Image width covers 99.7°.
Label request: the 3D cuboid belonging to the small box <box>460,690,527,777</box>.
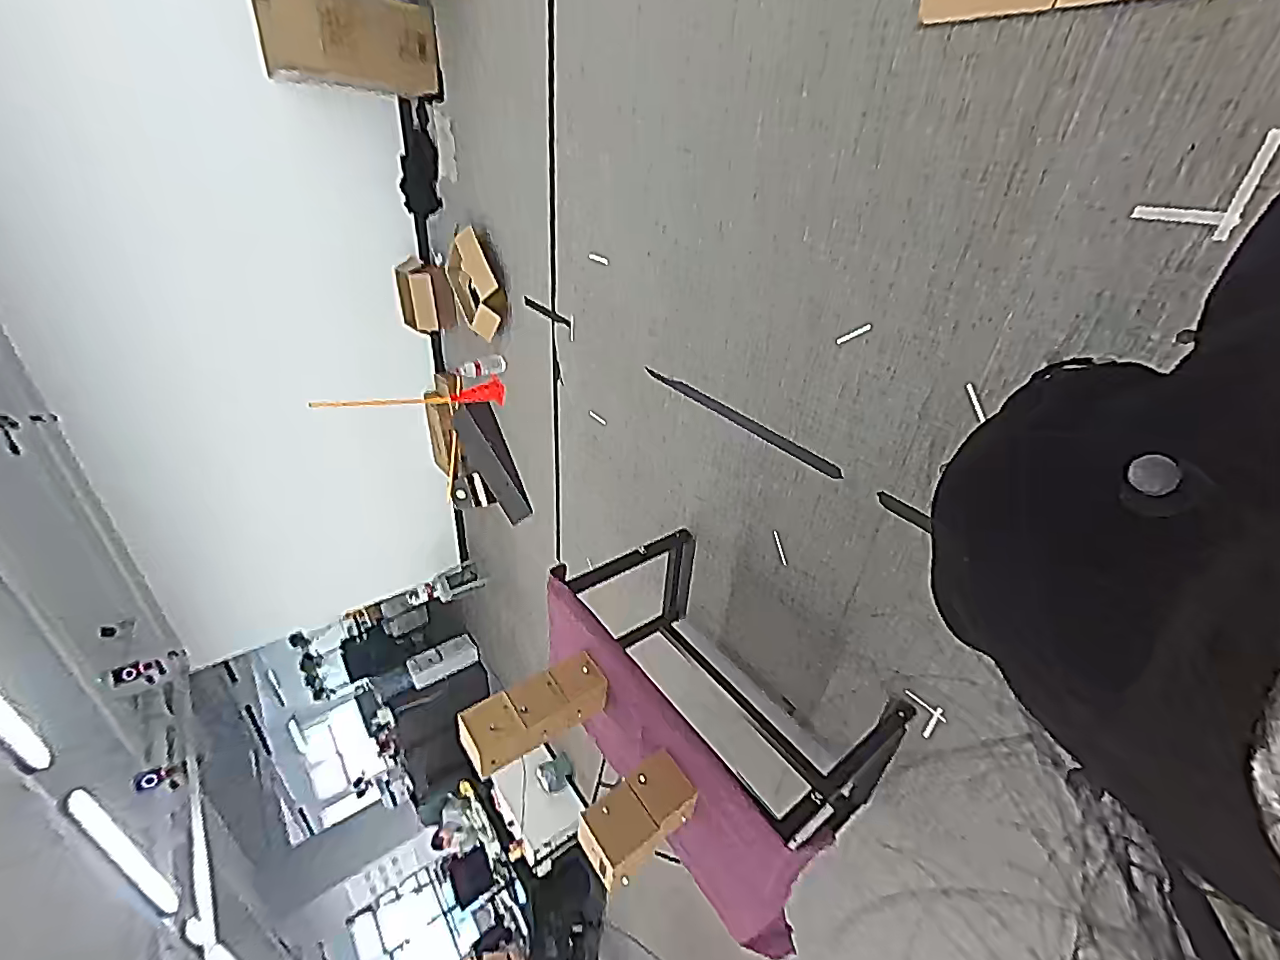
[{"bbox_3d":[-0.491,0.850,1.827,0.168,0.176,0.179,41,137,36],"label":"small box"}]

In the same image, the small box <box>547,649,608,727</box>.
[{"bbox_3d":[-0.233,0.769,2.012,0.168,0.176,0.179,40,136,38],"label":"small box"}]

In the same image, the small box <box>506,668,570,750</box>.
[{"bbox_3d":[-0.363,0.811,1.920,0.168,0.176,0.179,42,138,36],"label":"small box"}]

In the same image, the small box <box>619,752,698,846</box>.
[{"bbox_3d":[0.056,0.993,1.705,0.179,0.176,0.168,41,137,37],"label":"small box"}]
